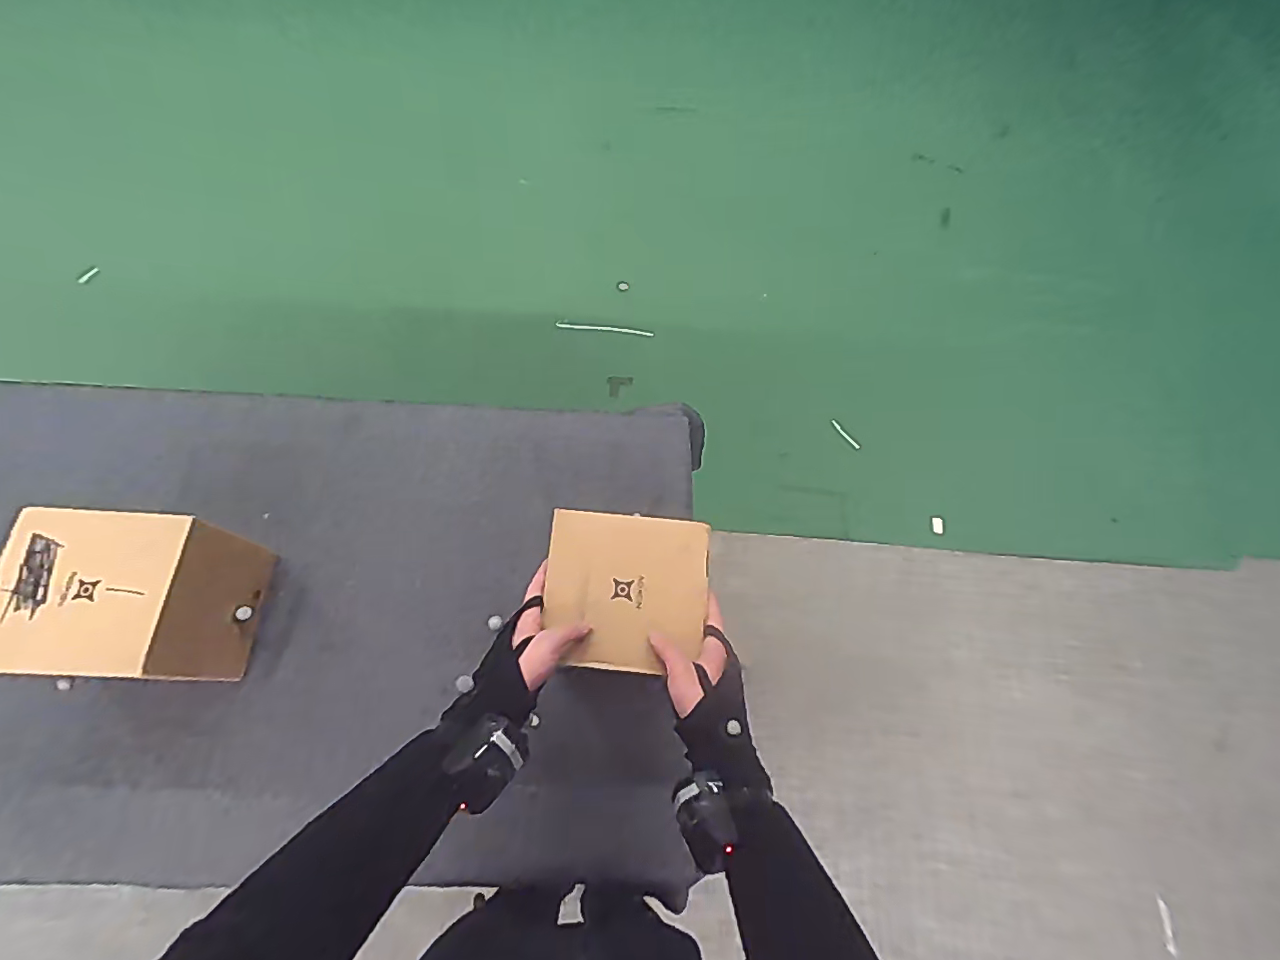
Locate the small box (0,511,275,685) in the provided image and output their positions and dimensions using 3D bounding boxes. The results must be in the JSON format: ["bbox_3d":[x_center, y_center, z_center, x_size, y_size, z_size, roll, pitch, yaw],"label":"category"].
[{"bbox_3d":[-0.570,0.142,0.617,0.179,0.176,0.168,4,69,-3],"label":"small box"}]

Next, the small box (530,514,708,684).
[{"bbox_3d":[-0.020,0.148,0.642,0.179,0.176,0.168,4,69,1],"label":"small box"}]
